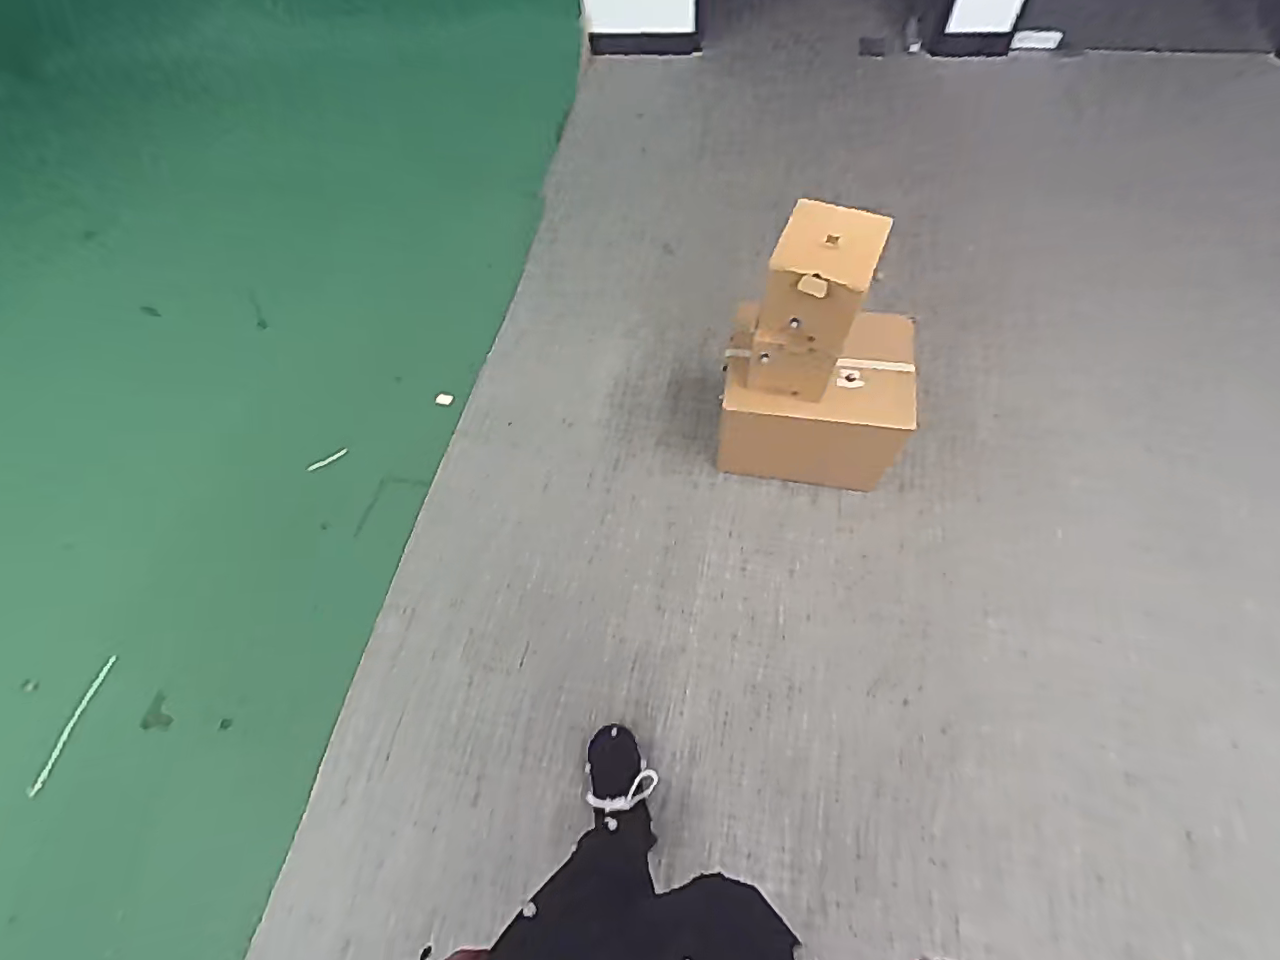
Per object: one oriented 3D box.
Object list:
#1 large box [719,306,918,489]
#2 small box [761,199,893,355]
[{"bbox_3d":[0.415,-0.196,1.339,0.408,0.320,0.320,8,66,8],"label":"large box"},{"bbox_3d":[0.327,-0.361,0.974,0.168,0.176,0.179,21,68,14],"label":"small box"}]
